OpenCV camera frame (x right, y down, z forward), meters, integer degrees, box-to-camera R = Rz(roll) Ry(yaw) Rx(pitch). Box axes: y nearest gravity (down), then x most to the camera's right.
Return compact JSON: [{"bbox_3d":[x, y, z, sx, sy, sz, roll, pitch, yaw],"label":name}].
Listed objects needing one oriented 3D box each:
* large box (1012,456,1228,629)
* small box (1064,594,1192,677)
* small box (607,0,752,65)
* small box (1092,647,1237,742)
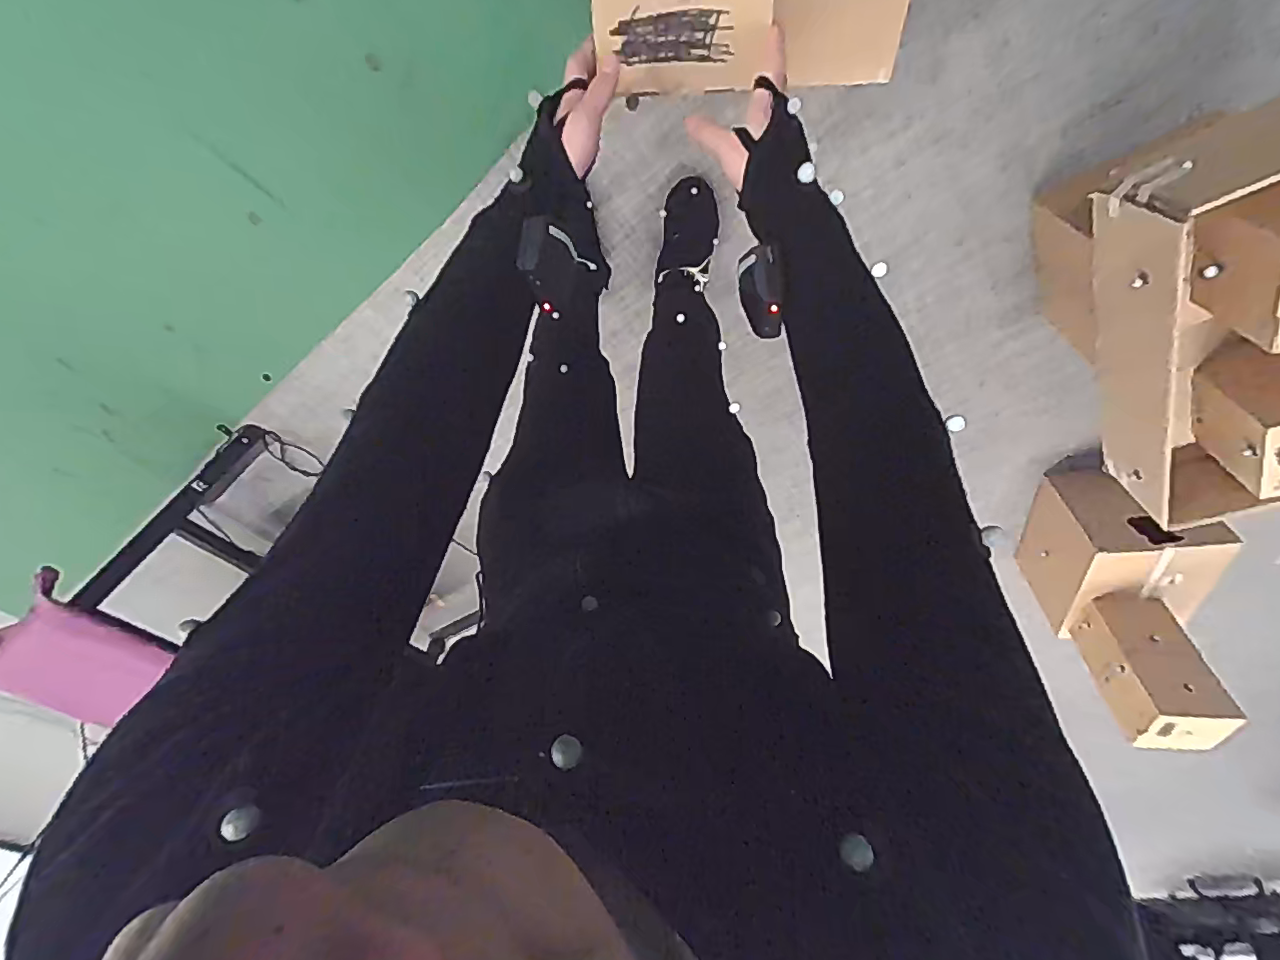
[{"bbox_3d":[1.358,0.191,1.591,0.320,0.320,0.408,-7,131,12],"label":"large box"},{"bbox_3d":[1.319,0.426,1.478,0.179,0.176,0.168,-1,132,10],"label":"small box"},{"bbox_3d":[0.048,-0.614,0.642,0.168,0.176,0.179,2,134,2],"label":"small box"},{"bbox_3d":[1.296,0.534,1.357,0.179,0.176,0.168,-1,132,8],"label":"small box"}]
